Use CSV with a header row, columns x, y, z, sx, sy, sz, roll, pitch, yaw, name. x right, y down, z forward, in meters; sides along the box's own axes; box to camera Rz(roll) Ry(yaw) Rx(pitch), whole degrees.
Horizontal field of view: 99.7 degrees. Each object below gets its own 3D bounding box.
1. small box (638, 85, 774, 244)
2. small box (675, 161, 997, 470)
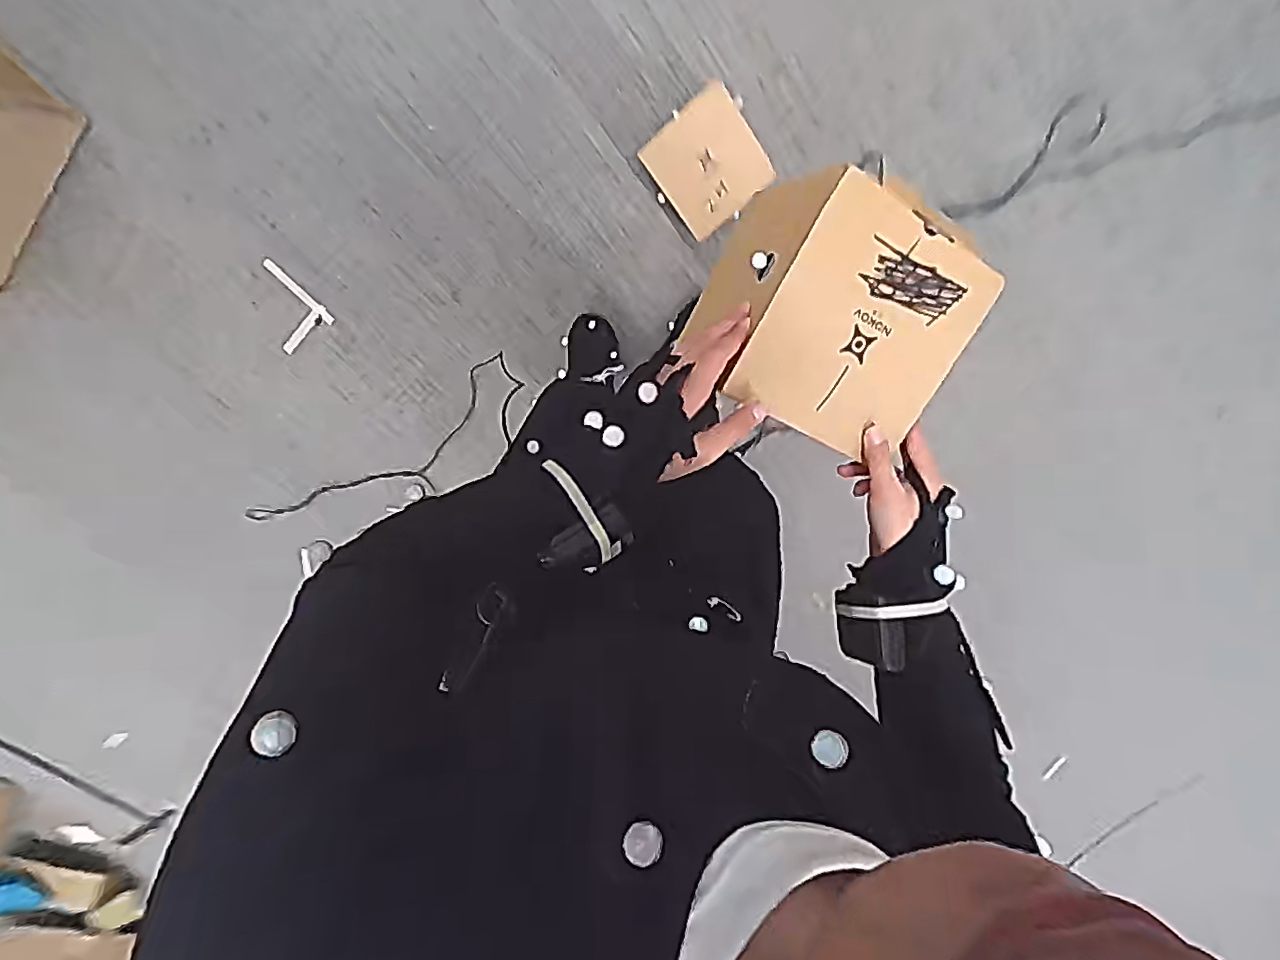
x,y,z,sx,sy,sz,roll,pitch,yaw,name
0.115,-0.553,0.970,0.168,0.176,0.179,-34,111,20,small box
0.148,-0.140,0.477,0.168,0.176,0.179,22,106,-18,small box
